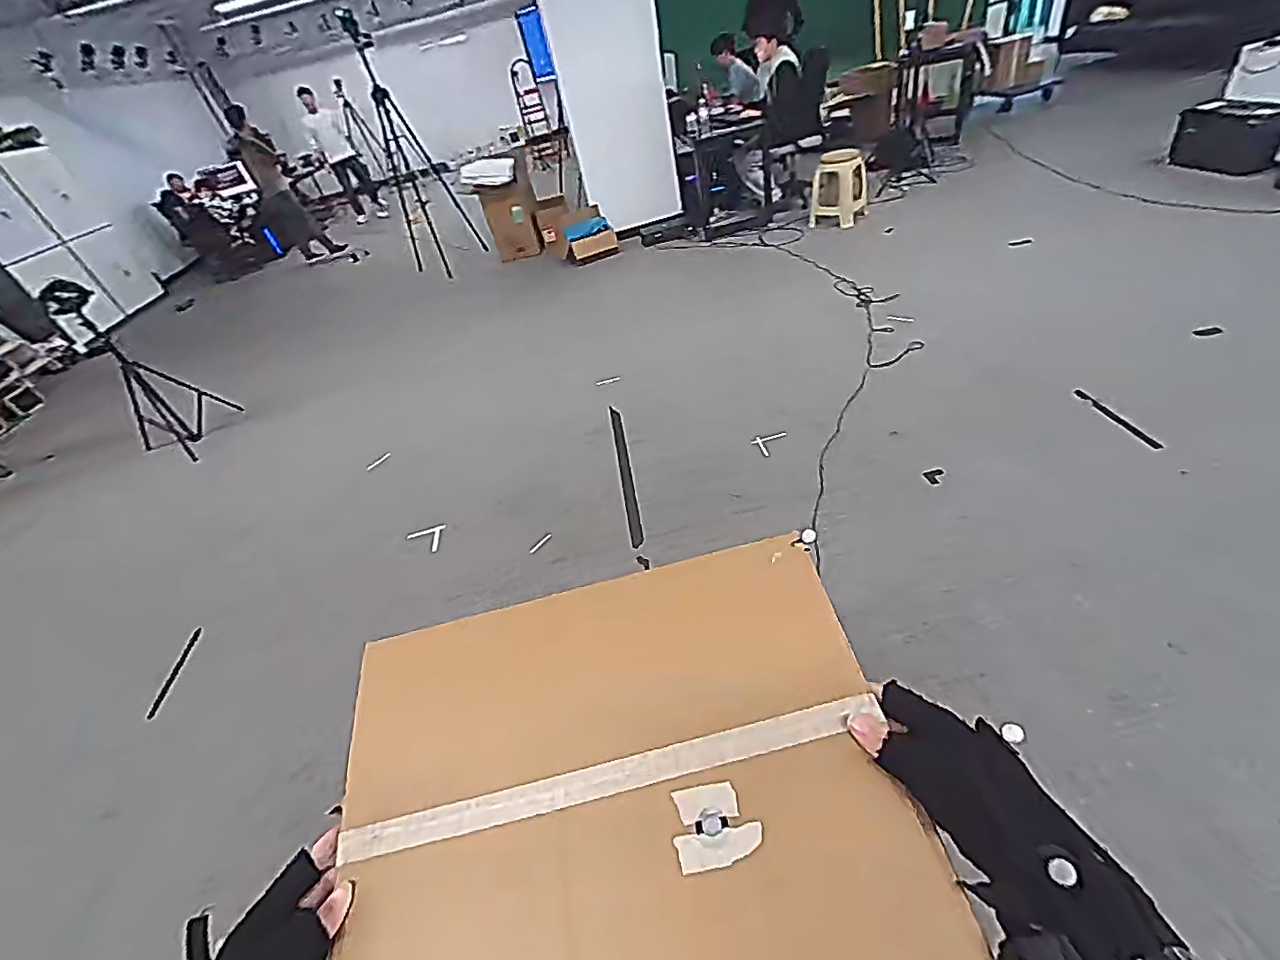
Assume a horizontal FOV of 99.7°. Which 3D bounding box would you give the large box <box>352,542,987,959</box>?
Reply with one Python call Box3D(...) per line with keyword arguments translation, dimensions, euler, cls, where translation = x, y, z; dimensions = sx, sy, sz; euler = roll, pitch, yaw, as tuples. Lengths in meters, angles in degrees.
Box3D(translation=(0.007, 0.313, 0.522), dimensions=(0.408, 0.320, 0.320), euler=(-15, 52, 0), cls="large box")
